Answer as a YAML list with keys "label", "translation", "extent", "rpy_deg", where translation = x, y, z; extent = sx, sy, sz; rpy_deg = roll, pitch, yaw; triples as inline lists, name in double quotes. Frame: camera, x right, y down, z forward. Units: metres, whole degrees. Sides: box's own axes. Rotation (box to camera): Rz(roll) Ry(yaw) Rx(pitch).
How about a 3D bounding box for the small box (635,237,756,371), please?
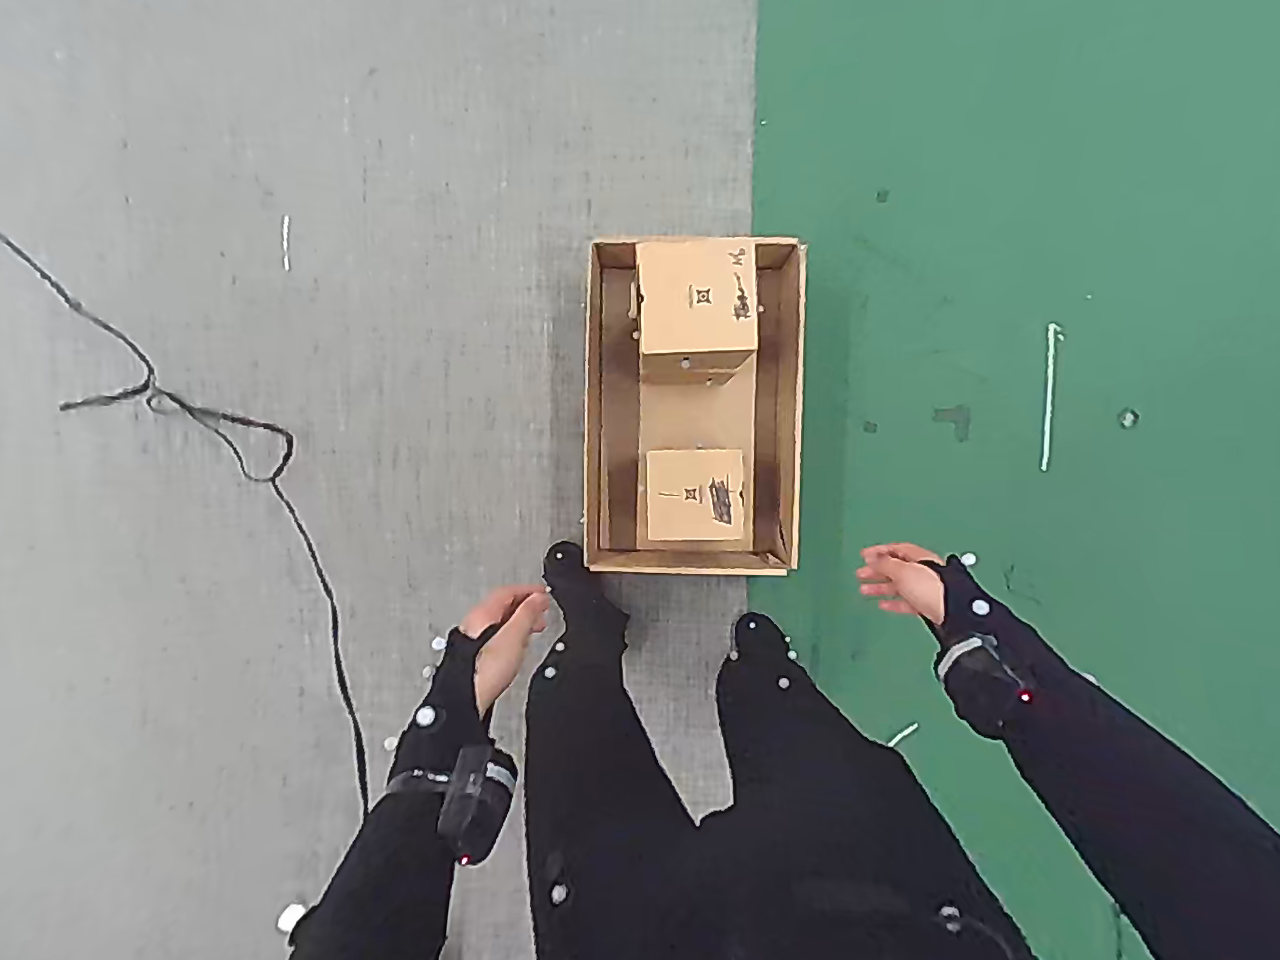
- label: "small box"
  translation: [0.085, -0.271, 0.867]
  extent: [0.179, 0.176, 0.168]
  rpy_deg: [-2, 93, 2]
